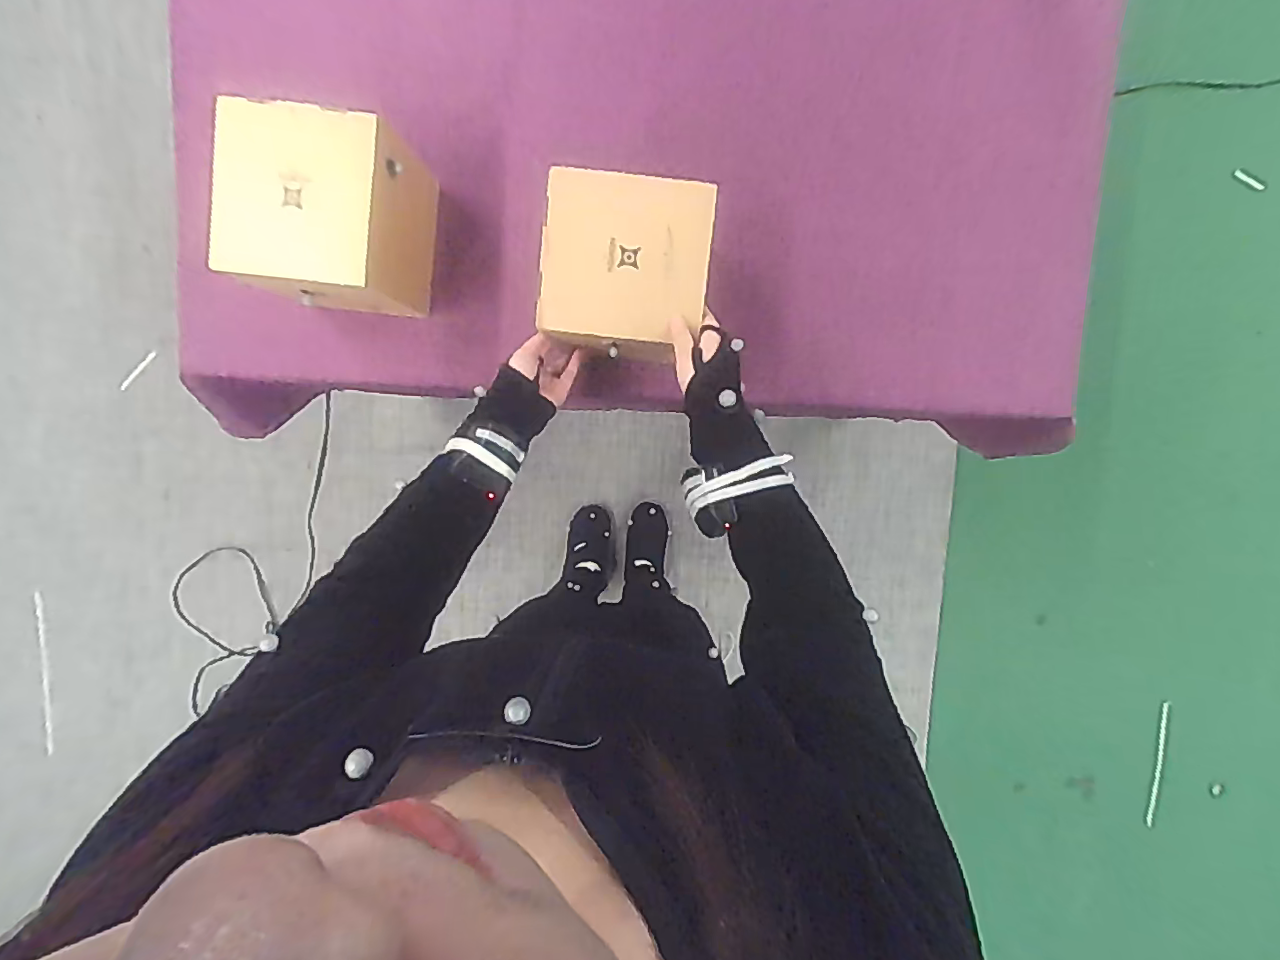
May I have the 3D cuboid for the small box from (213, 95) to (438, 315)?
[{"bbox_3d":[-0.353,-0.304,0.637,0.168,0.176,0.179,7,94,0],"label":"small box"}]

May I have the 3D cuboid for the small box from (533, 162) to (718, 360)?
[{"bbox_3d":[-0.015,-0.241,0.637,0.179,0.176,0.168,7,95,0],"label":"small box"}]
